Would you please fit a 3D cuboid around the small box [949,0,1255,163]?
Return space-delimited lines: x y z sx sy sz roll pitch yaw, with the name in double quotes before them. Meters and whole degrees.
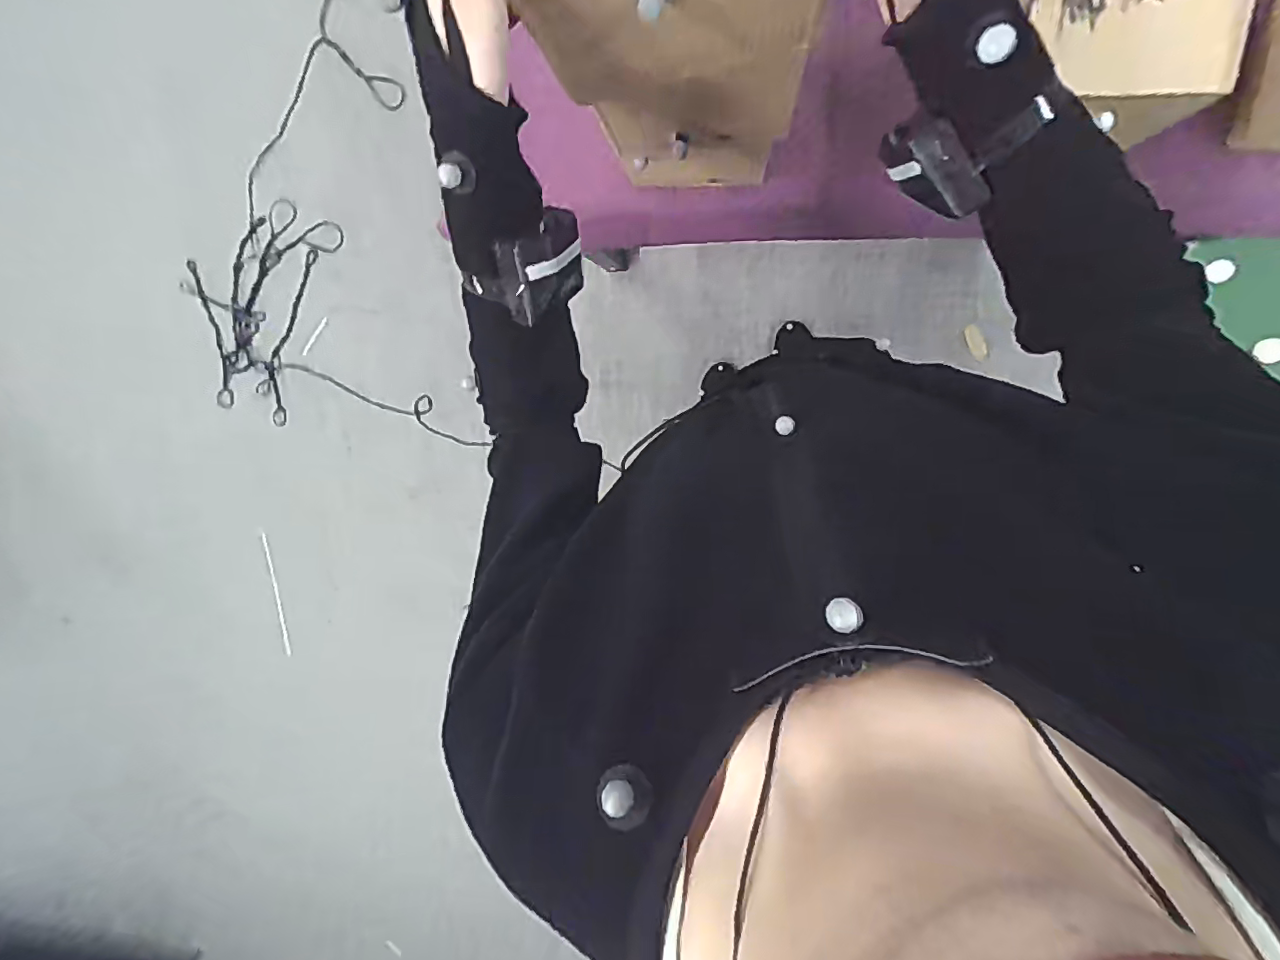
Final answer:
"small box" 0.435 -0.431 0.534 0.179 0.176 0.168 4 102 8

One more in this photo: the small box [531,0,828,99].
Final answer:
"small box" 0.012 -0.341 0.284 0.179 0.176 0.168 -9 101 12

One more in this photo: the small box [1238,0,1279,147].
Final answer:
"small box" 0.723 -0.418 0.489 0.168 0.176 0.179 8 104 8

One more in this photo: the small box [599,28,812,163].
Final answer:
"small box" 0.044 -0.389 0.438 0.168 0.176 0.179 -1 102 10
